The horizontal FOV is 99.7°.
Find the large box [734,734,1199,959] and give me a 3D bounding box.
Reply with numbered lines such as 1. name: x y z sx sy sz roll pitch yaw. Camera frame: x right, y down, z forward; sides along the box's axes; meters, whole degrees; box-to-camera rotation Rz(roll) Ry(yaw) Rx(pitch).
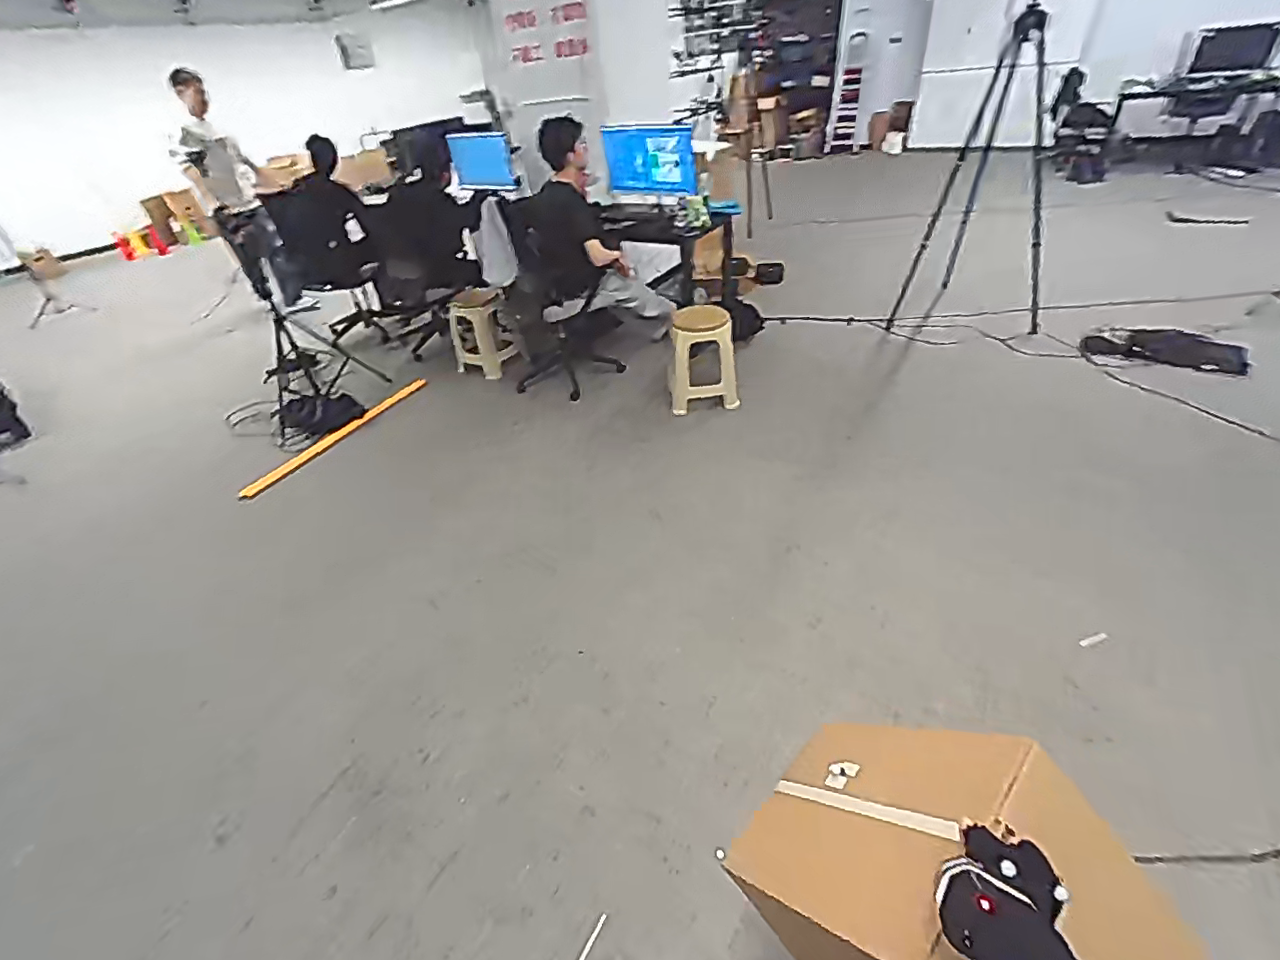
1. large box: 0.416 0.596 0.757 0.320 0.408 0.320 -35 83 -29
